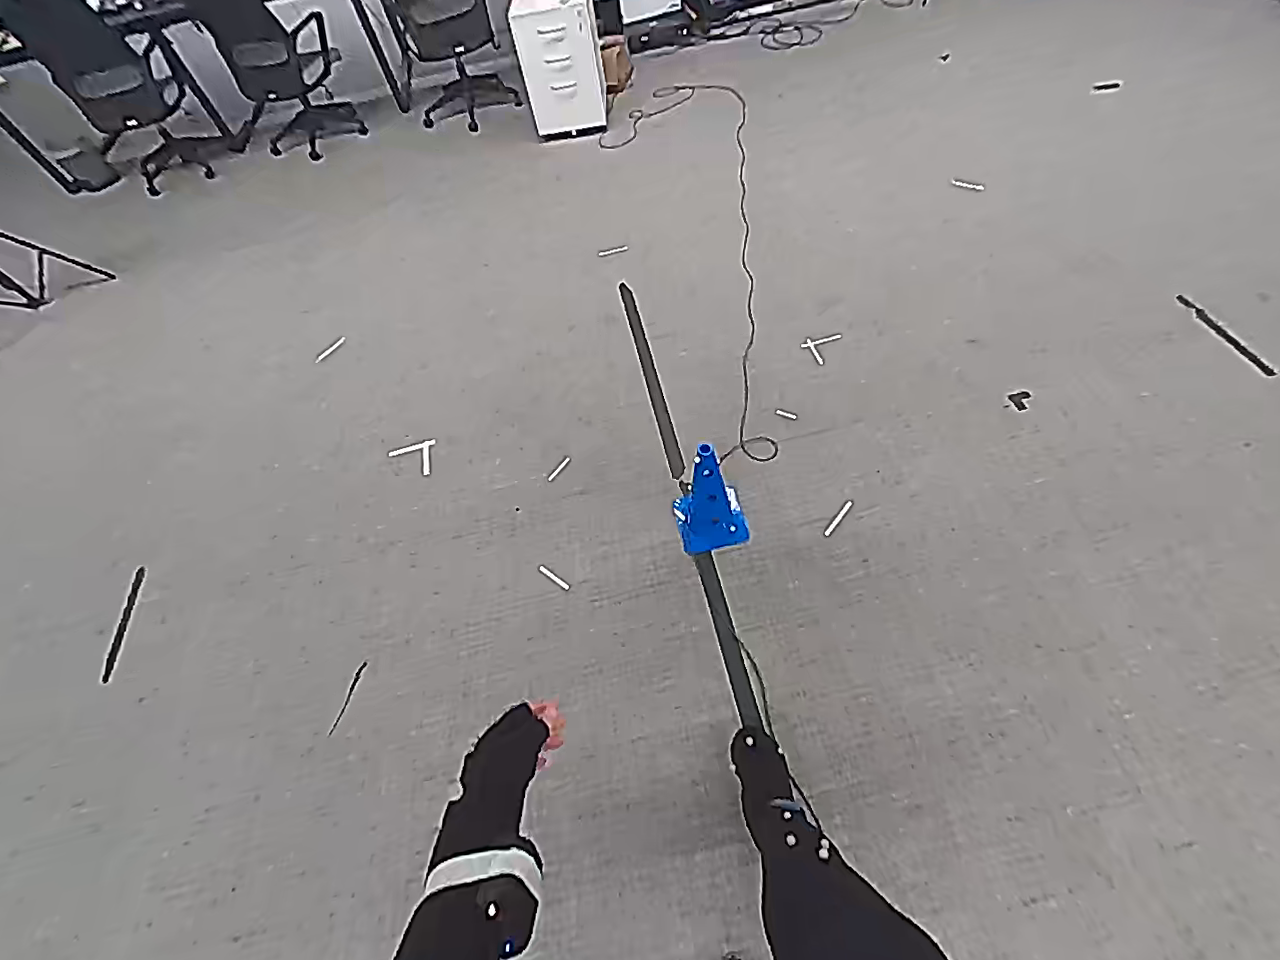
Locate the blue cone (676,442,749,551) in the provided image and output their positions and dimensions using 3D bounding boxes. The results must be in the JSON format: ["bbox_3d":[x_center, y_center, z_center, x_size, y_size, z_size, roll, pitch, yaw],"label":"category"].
[{"bbox_3d":[0.191,0.019,1.489,0.193,0.380,0.192,-15,54,-2],"label":"blue cone"}]
